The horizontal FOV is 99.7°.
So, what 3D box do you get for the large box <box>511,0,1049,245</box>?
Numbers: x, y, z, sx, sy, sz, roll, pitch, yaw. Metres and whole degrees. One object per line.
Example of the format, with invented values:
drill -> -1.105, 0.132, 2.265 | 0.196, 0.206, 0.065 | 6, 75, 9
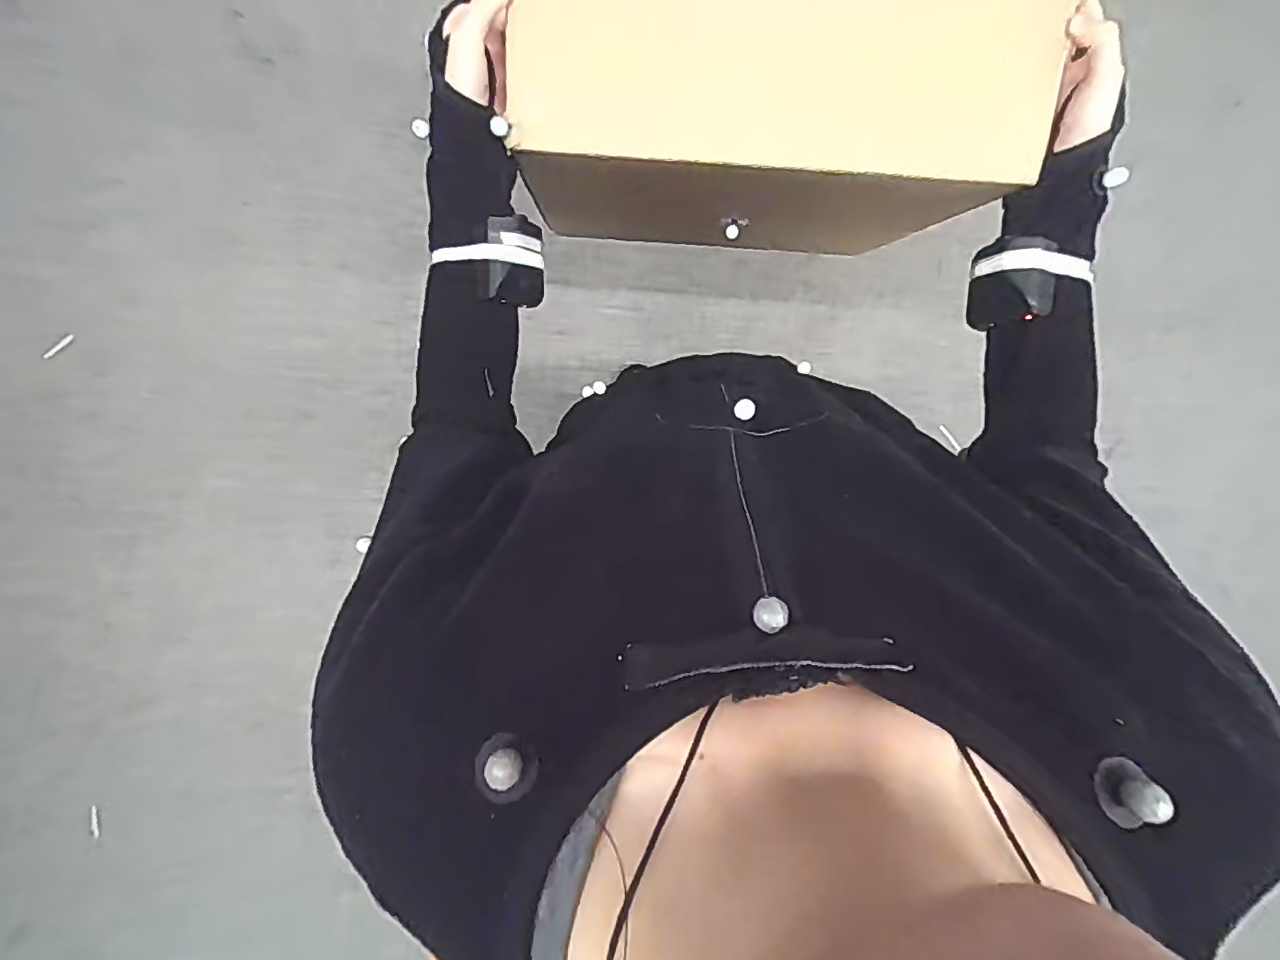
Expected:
large box -> 0.103, -0.423, 0.529 | 0.408, 0.320, 0.320 | 2, 103, -3
